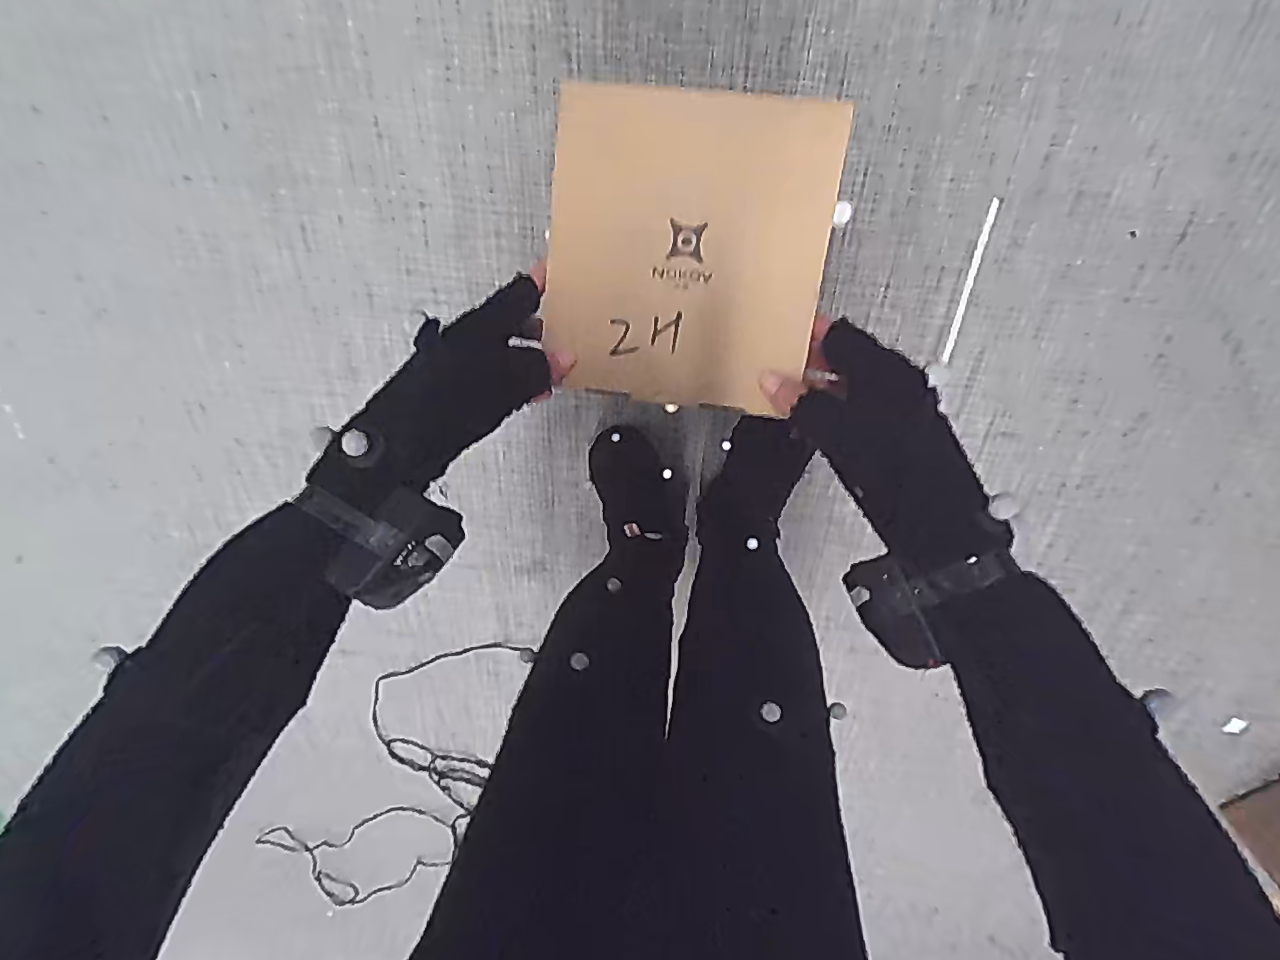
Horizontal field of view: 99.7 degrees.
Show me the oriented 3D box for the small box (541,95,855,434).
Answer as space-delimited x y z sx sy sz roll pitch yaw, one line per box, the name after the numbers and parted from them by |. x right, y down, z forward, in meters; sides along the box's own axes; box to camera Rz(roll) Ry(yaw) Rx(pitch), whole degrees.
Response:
0.037 -0.140 0.398 0.168 0.176 0.179 9 104 5 | small box
